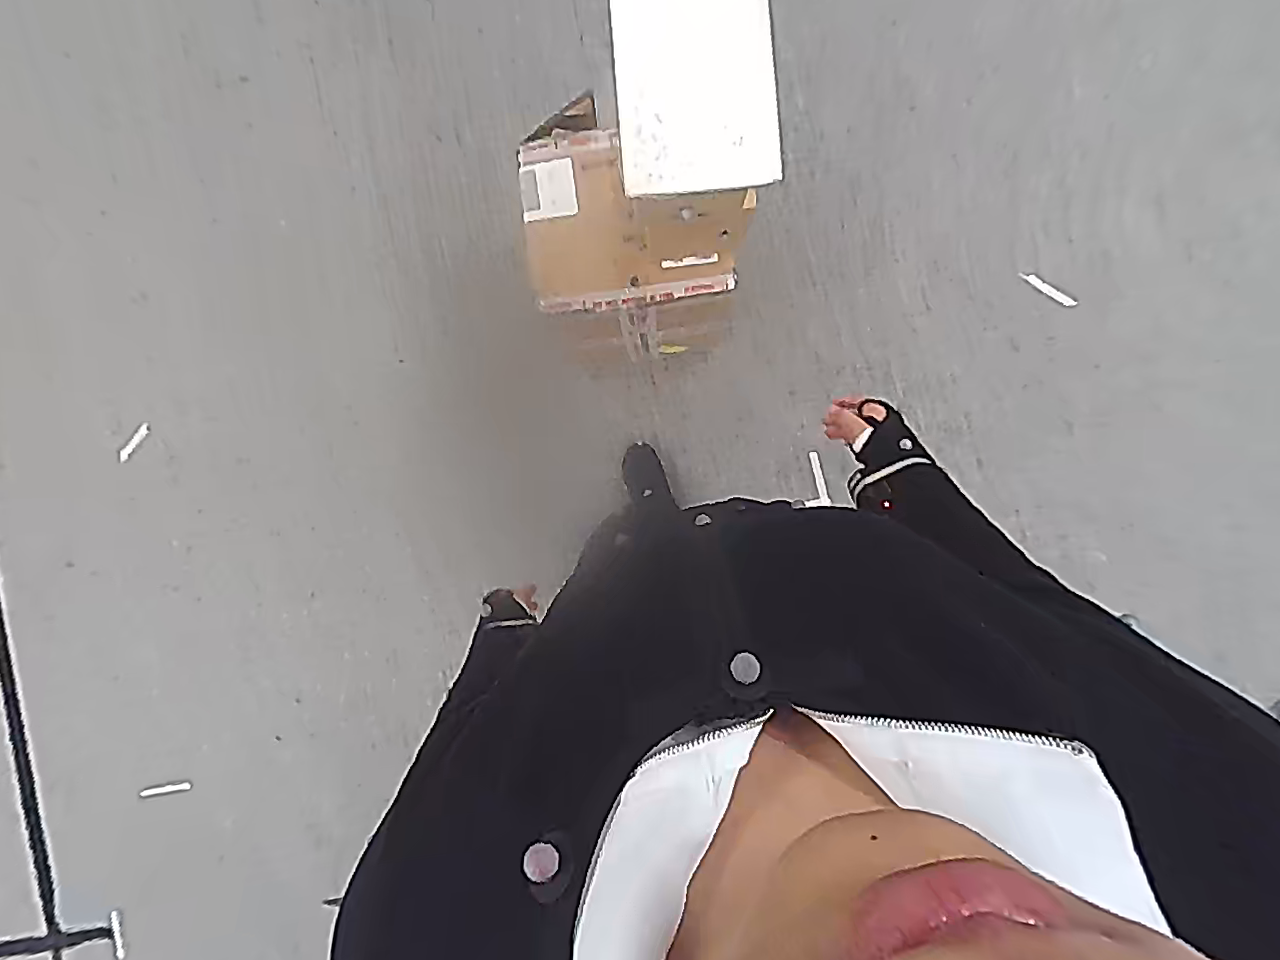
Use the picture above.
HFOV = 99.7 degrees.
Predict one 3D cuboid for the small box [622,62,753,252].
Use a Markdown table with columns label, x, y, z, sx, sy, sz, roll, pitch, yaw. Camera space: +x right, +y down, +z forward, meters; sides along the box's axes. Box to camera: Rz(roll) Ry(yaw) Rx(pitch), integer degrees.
| label | x | y | z | sx | sy | sz | roll | pitch | yaw |
| --- | --- | --- | --- | --- | --- | --- | --- | --- | --- |
| small box | 0.061 | -0.456 | 0.788 | 0.168 | 0.176 | 0.179 | -5 | 91 | 1 |

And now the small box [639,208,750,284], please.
| label | x | y | z | sx | sy | sz | roll | pitch | yaw |
| --- | --- | --- | --- | --- | --- | --- | --- | --- | --- |
| small box | 0.082 | -0.462 | 0.952 | 0.179 | 0.176 | 0.168 | -9 | 90 | 1 |
